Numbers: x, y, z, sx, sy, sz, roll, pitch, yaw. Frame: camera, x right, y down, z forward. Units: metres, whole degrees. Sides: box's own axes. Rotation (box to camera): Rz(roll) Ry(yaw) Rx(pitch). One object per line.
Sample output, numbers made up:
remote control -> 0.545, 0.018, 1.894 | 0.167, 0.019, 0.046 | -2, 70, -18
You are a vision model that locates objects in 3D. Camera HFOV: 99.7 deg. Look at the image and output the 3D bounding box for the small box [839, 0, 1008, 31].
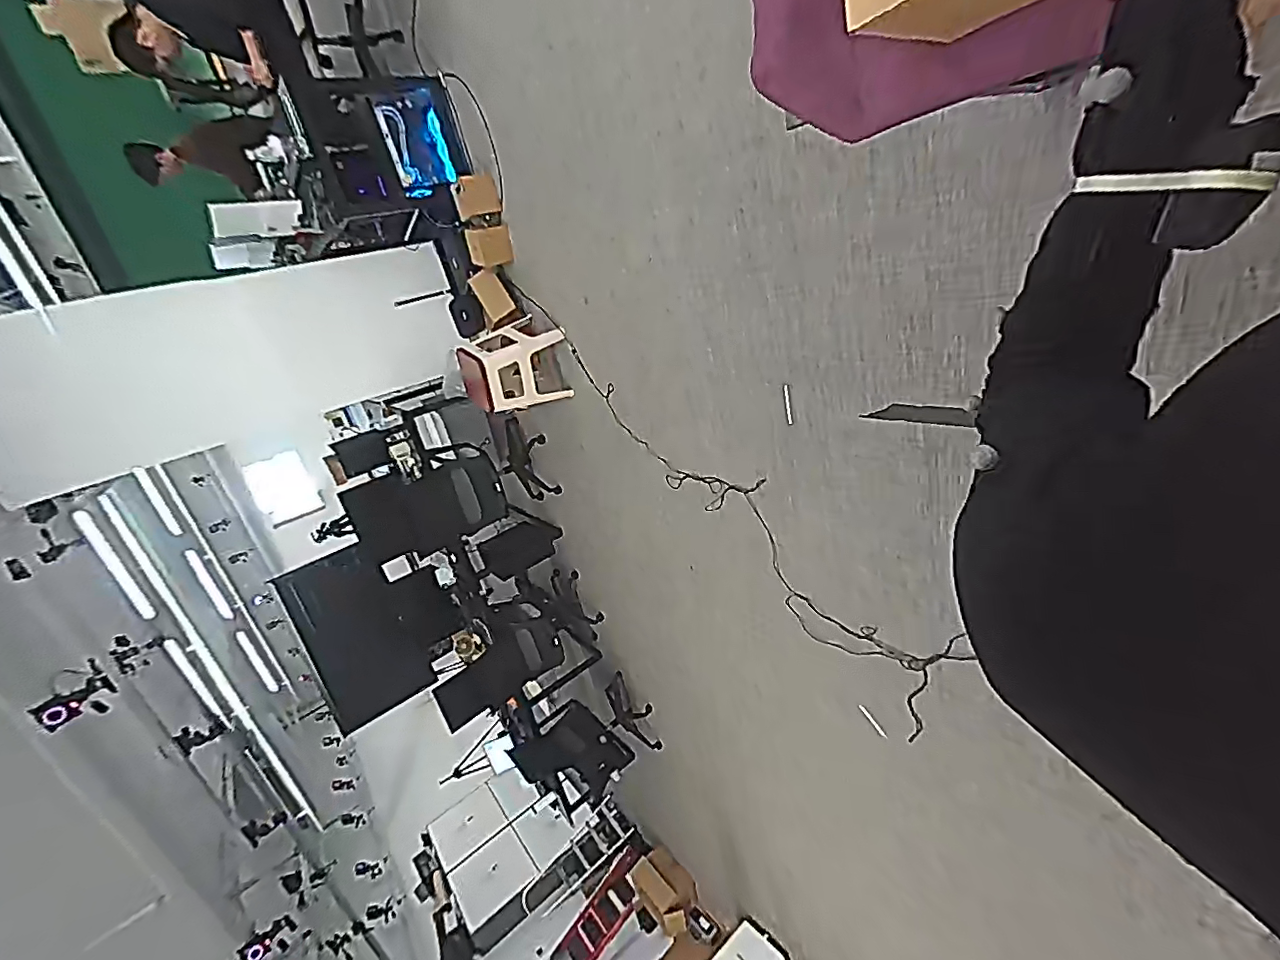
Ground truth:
small box -> 0.266, -0.470, 0.401 | 0.179, 0.176, 0.168 | 13, 124, 53
